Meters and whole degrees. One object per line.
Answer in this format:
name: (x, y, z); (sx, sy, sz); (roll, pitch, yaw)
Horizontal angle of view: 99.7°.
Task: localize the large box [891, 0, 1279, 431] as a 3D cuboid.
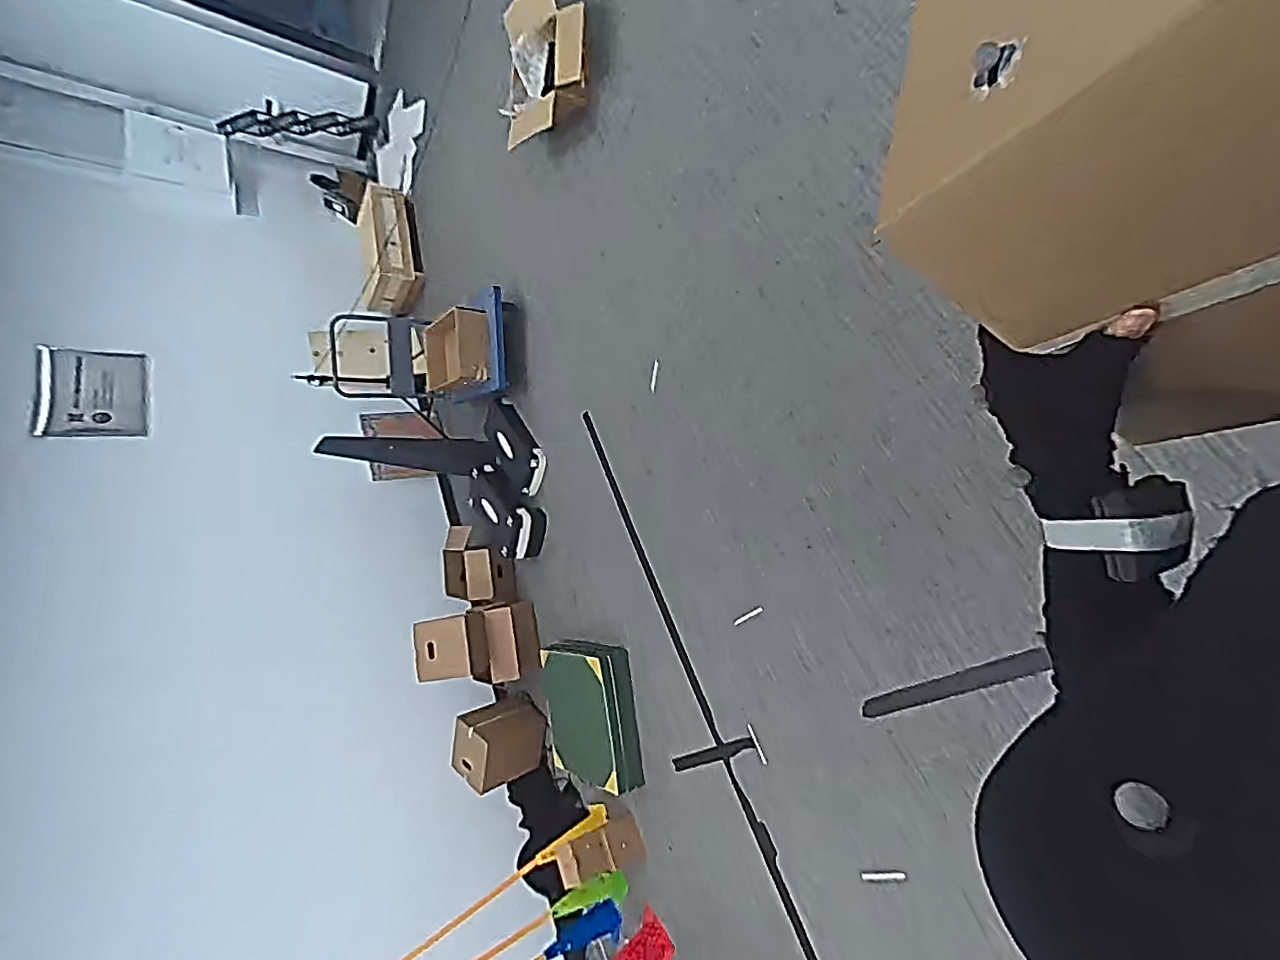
large box: (0.410, -0.270, 0.268); (0.408, 0.320, 0.320); (-21, 48, 60)
